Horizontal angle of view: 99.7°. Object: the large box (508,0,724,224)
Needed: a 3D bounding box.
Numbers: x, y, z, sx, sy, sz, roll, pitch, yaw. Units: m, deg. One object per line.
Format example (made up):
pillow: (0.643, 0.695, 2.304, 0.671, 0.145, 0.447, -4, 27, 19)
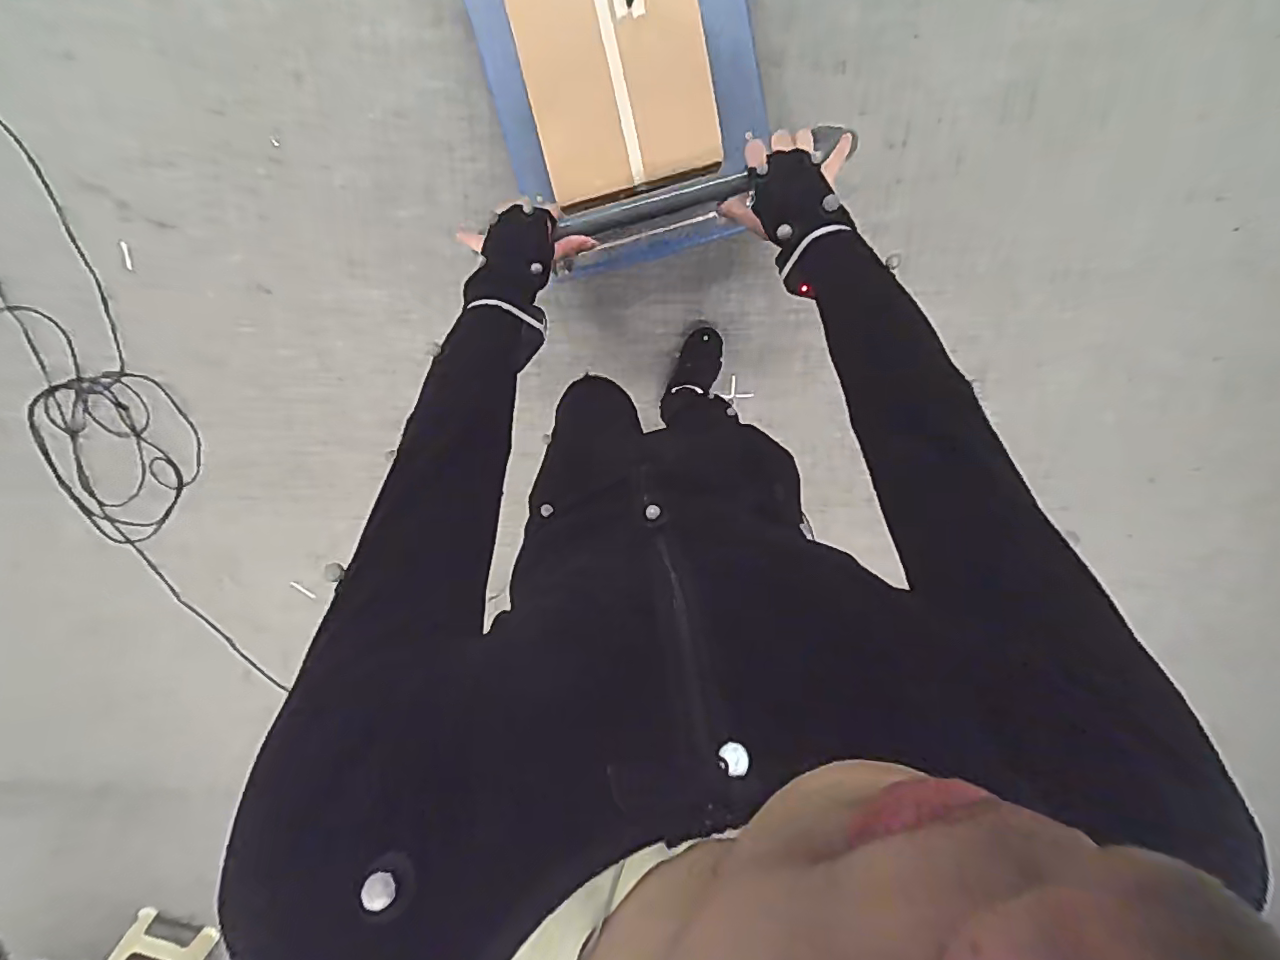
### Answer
large box: (-0.035, -0.778, 1.066, 0.320, 0.320, 0.408, -12, 106, 7)
